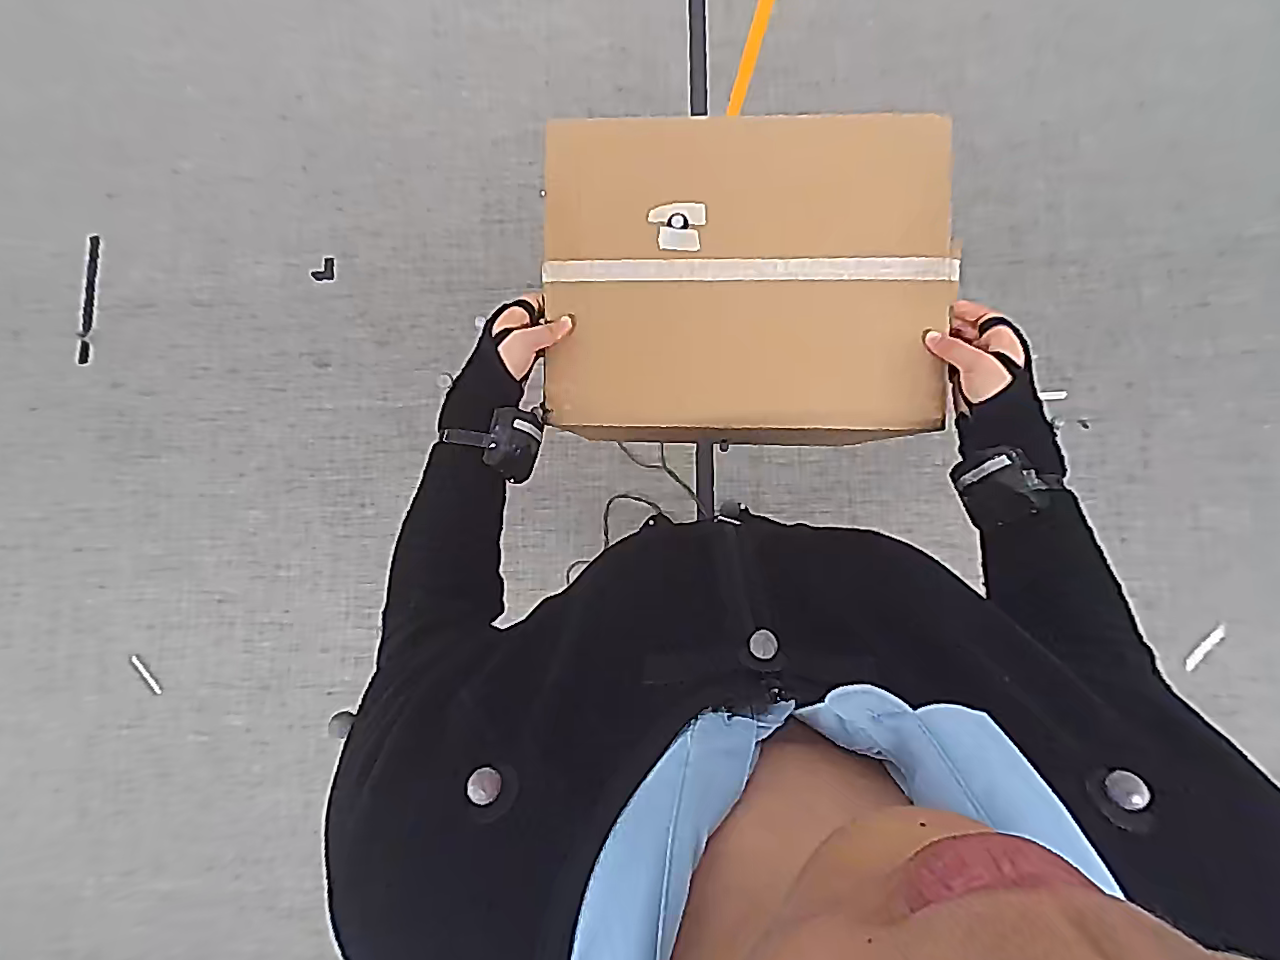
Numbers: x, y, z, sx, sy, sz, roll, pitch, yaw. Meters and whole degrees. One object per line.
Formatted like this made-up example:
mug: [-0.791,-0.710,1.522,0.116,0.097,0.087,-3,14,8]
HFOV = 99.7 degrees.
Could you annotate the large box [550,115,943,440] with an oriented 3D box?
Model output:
large box: [0.117,-0.213,0.702,0.408,0.320,0.320,1,89,4]
